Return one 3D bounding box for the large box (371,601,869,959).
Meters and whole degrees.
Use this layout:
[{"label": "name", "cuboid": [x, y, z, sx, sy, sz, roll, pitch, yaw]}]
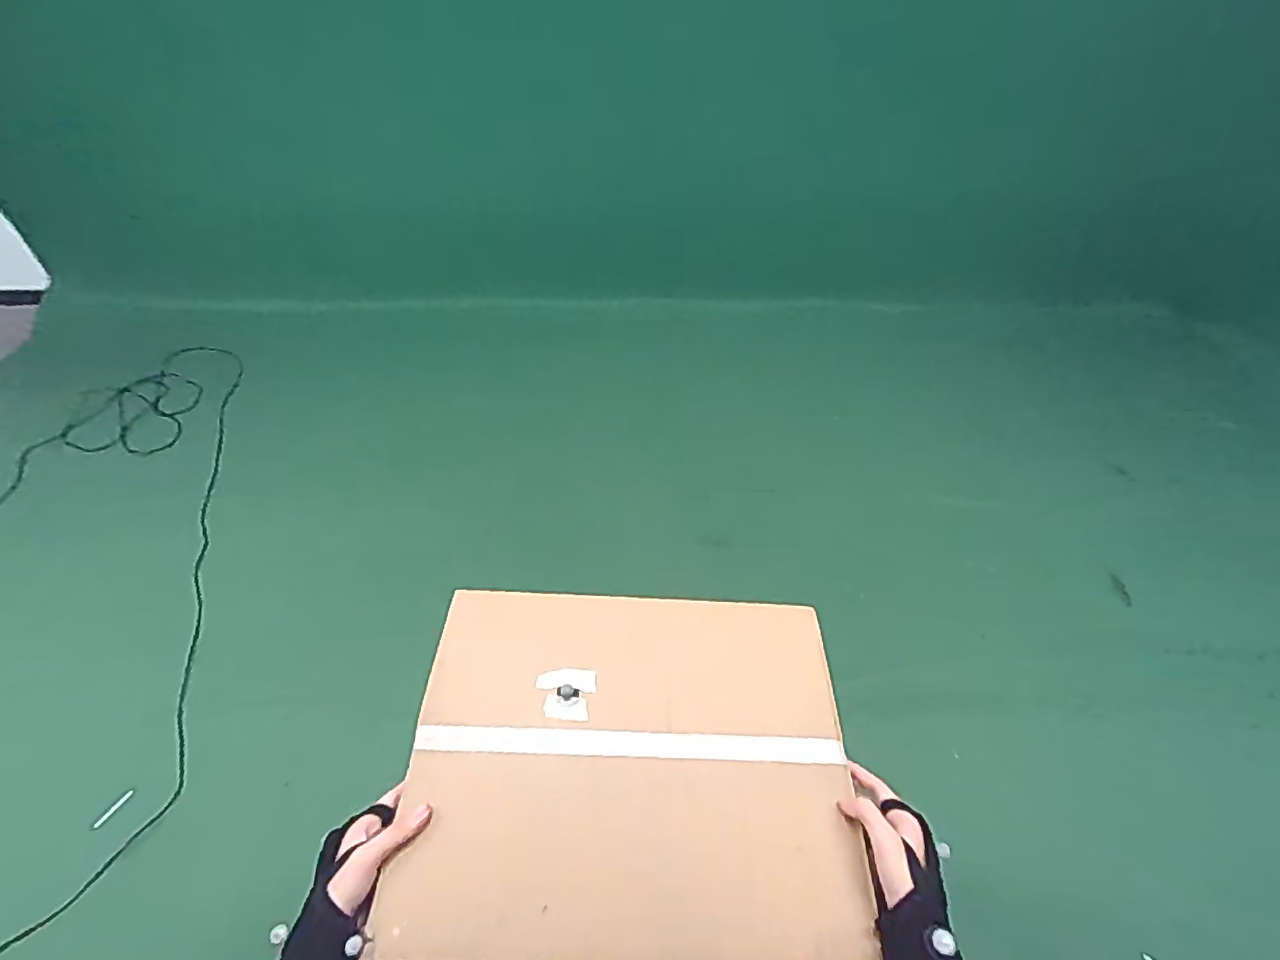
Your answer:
[{"label": "large box", "cuboid": [-0.016, 0.355, 0.635, 0.408, 0.320, 0.320, 2, 49, -1]}]
